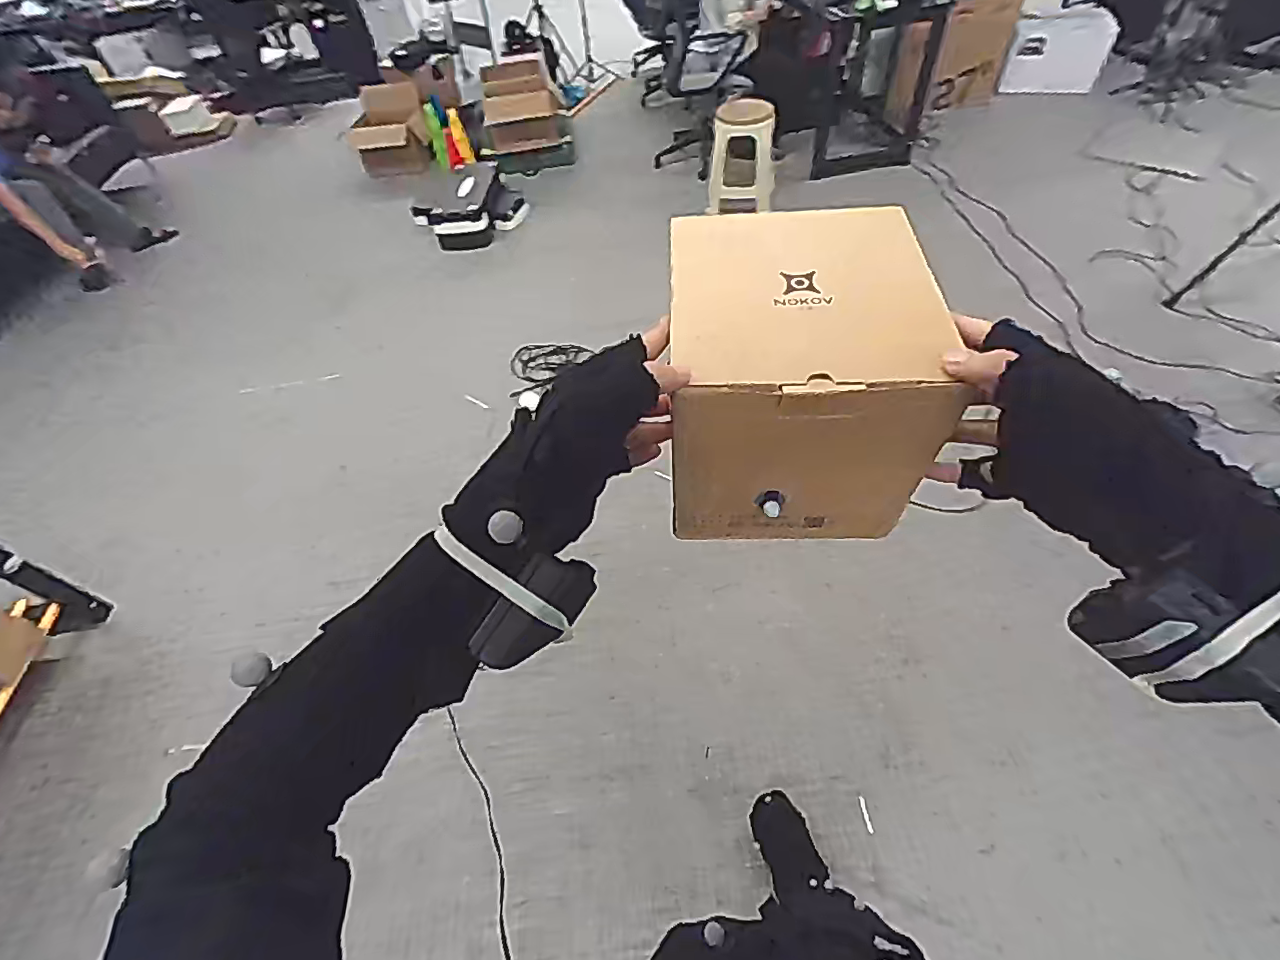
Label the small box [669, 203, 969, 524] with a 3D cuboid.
[{"bbox_3d":[0.106,-0.083,0.413,0.168,0.176,0.179,-2,54,4],"label":"small box"}]
